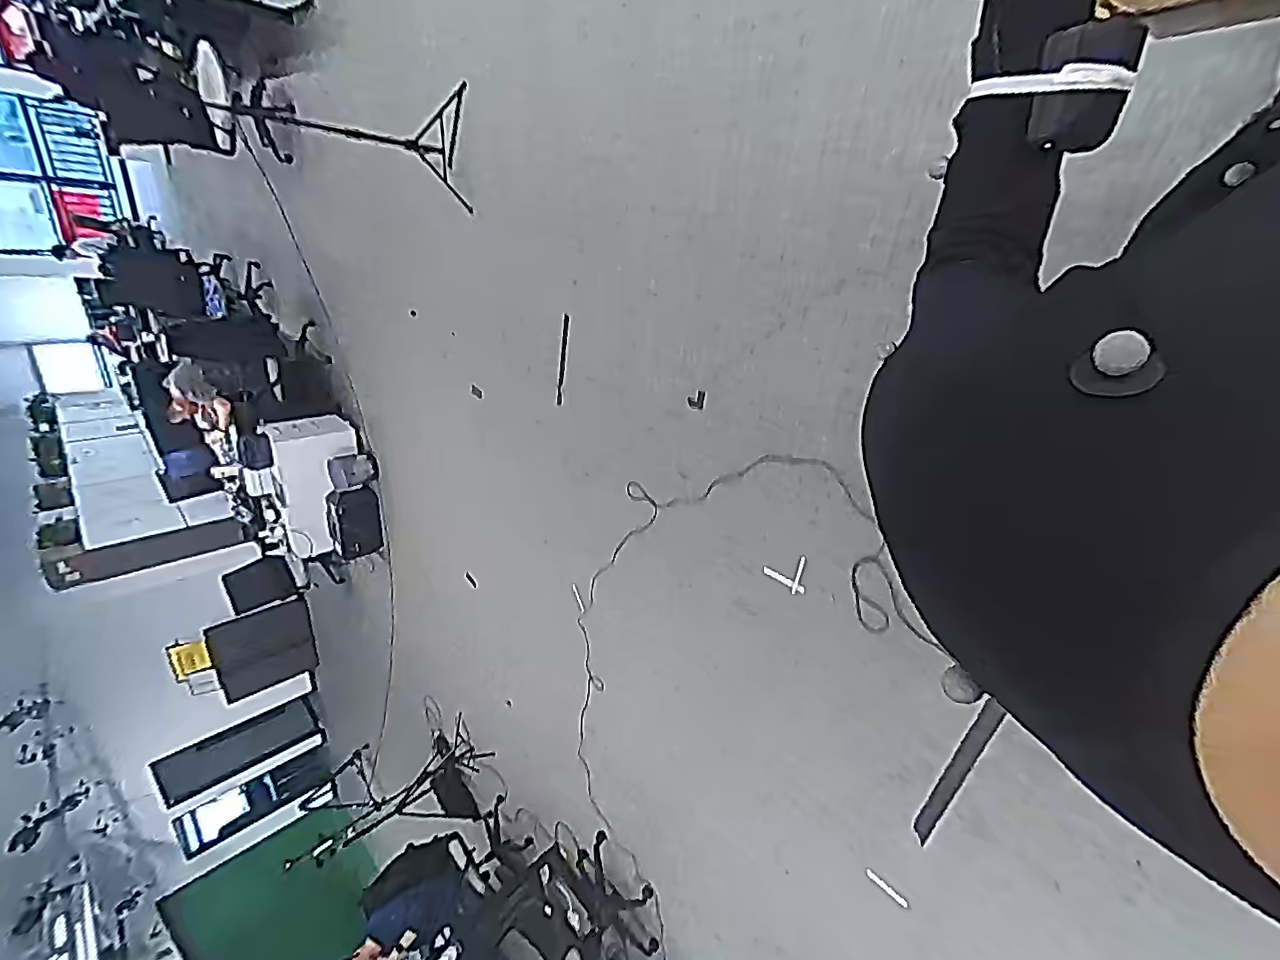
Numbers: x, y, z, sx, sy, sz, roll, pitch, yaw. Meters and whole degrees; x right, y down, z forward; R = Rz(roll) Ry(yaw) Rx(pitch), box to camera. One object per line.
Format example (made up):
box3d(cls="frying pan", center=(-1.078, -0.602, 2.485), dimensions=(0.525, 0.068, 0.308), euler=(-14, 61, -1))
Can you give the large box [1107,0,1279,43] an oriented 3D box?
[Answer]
box3d(cls="large box", center=(0.513, -0.440, 0.233), dimensions=(0.408, 0.320, 0.320), euler=(18, 130, 40))
